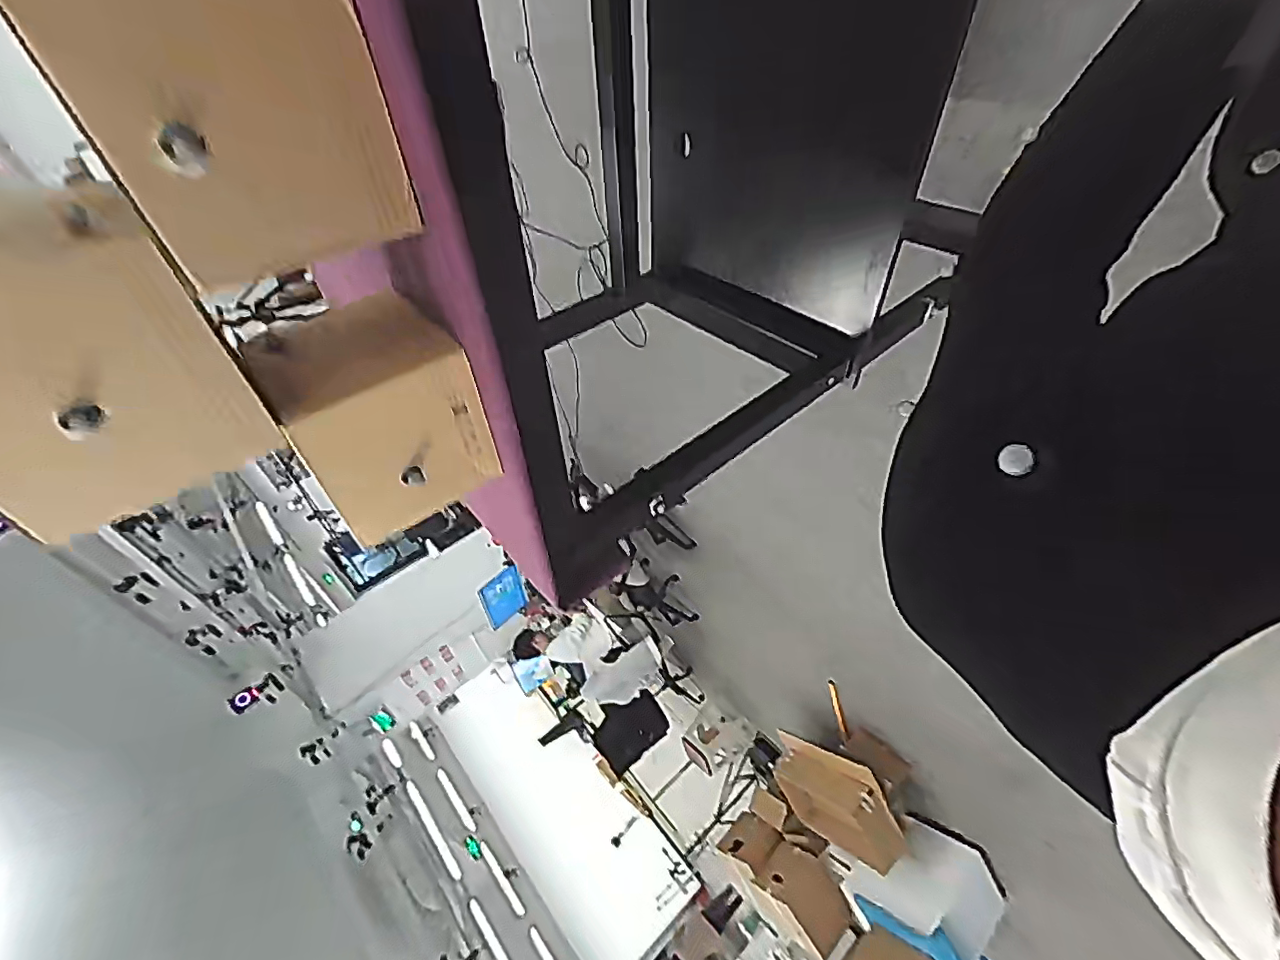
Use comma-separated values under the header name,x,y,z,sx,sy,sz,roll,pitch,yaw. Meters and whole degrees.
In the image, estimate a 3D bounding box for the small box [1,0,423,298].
name,x,y,z,sx,sy,sz,roll,pitch,yaw
small box,-0.277,-0.261,0.372,0.168,0.176,0.179,39,149,32

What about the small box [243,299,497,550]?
name,x,y,z,sx,sy,sz,roll,pitch,yaw
small box,-0.266,-0.068,0.568,0.179,0.176,0.168,39,149,34

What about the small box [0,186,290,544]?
name,x,y,z,sx,sy,sz,roll,pitch,yaw
small box,-0.402,-0.094,0.398,0.168,0.176,0.179,38,148,35
